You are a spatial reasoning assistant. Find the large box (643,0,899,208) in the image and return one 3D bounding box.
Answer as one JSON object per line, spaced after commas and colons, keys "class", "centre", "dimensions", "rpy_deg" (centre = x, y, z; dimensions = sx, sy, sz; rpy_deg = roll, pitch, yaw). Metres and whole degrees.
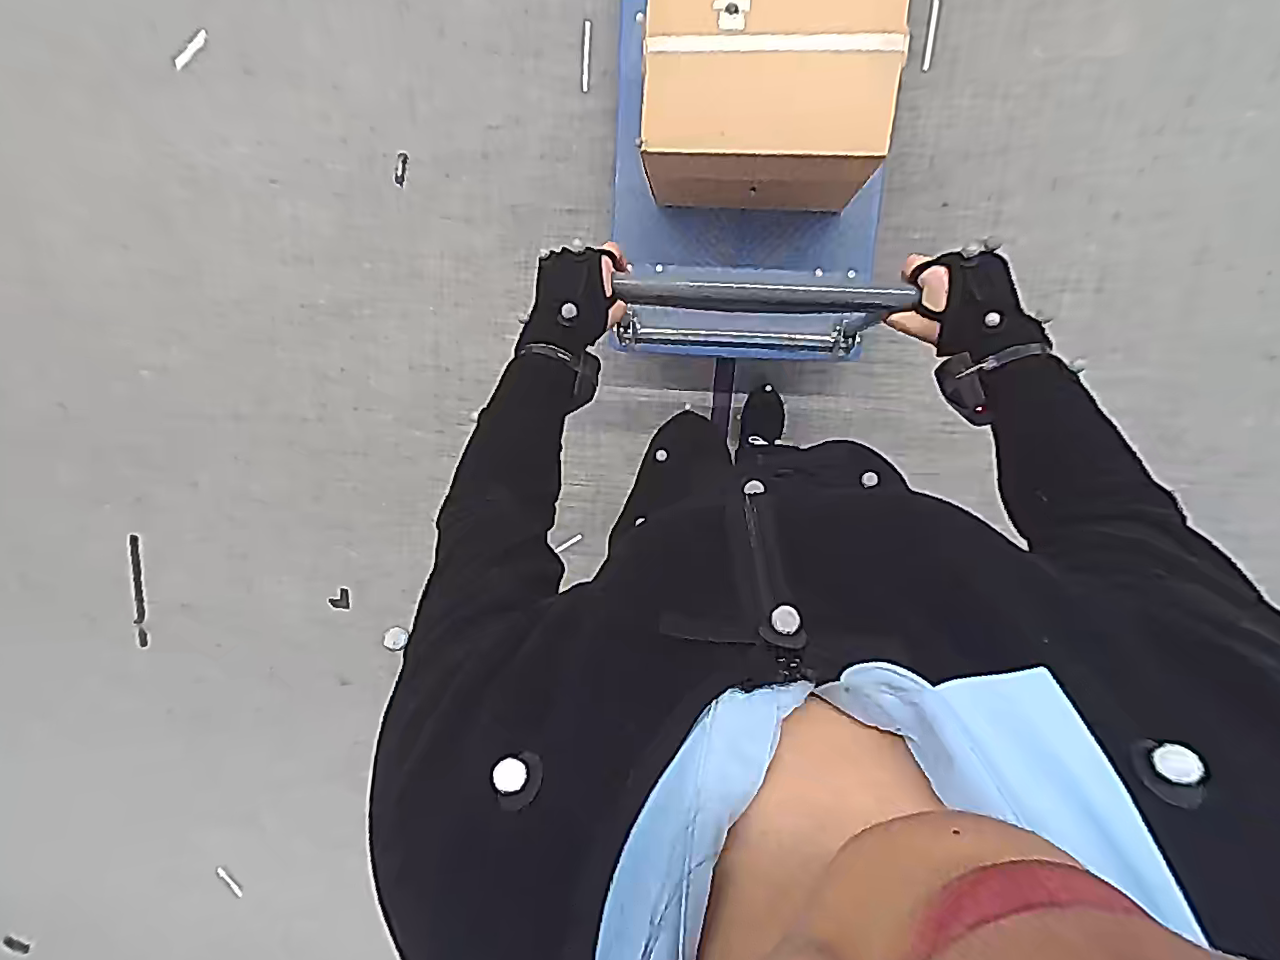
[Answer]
{"class": "large box", "centre": [0.229, -0.724, 1.026], "dimensions": [0.408, 0.320, 0.320], "rpy_deg": [5, 101, 7]}
